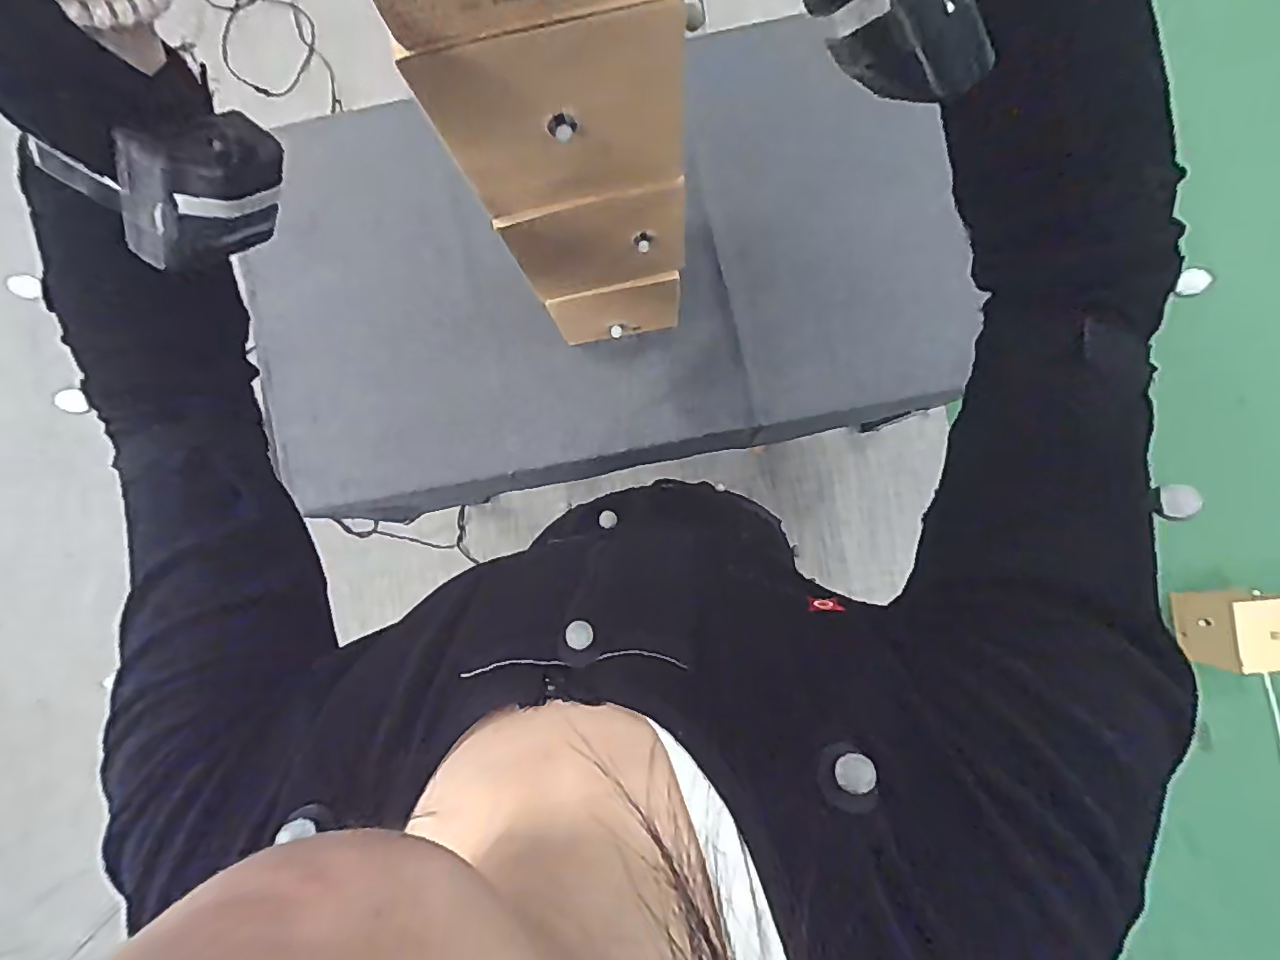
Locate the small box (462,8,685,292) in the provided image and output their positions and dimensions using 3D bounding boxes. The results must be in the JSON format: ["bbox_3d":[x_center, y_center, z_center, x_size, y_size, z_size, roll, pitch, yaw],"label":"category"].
[{"bbox_3d":[-0.057,-0.318,0.557,0.179,0.176,0.168,-12,85,2],"label":"small box"}]

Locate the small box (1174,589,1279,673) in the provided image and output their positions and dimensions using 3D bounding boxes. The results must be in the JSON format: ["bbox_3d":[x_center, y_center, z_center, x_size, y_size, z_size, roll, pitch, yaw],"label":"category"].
[{"bbox_3d":[1.479,0.367,1.333,0.179,0.176,0.168,-5,86,2],"label":"small box"}]

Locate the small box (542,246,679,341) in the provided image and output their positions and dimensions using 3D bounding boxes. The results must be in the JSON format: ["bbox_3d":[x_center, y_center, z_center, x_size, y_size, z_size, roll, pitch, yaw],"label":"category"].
[{"bbox_3d":[-0.044,-0.305,0.719,0.168,0.176,0.179,-10,87,2],"label":"small box"}]
